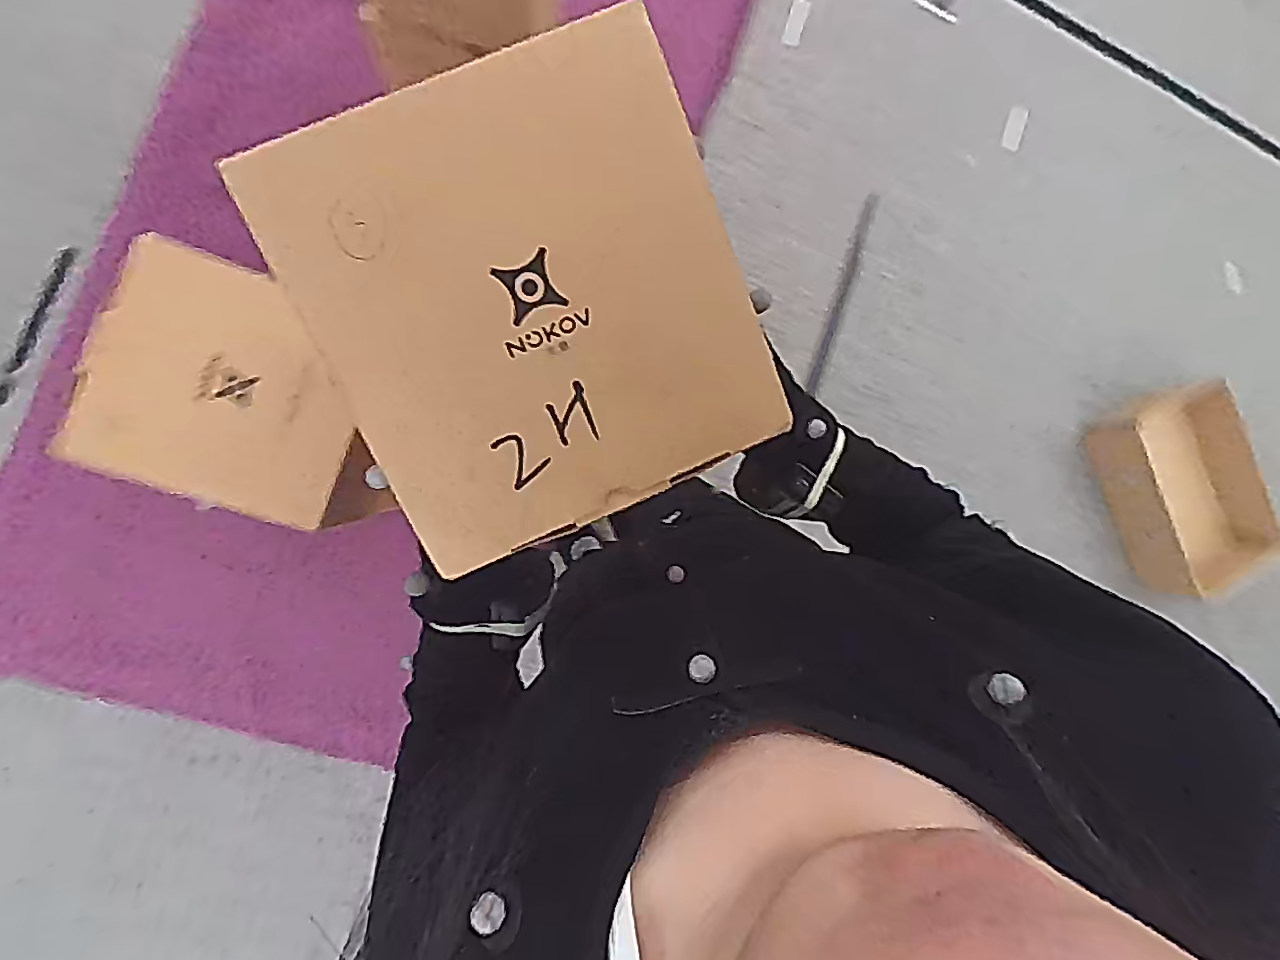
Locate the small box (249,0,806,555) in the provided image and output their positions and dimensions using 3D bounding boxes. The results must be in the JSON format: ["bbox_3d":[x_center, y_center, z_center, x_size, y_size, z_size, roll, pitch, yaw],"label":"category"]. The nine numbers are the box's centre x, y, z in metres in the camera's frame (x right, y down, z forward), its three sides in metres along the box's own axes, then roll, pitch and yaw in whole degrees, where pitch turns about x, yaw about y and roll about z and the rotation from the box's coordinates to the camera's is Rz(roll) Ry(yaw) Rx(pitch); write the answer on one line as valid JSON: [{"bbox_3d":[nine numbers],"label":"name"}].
[{"bbox_3d":[-0.044,-0.089,0.289,0.168,0.176,0.179,-23,102,-3],"label":"small box"}]

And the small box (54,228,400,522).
[{"bbox_3d":[-0.303,-0.071,0.459,0.179,0.176,0.168,18,87,-12],"label":"small box"}]
